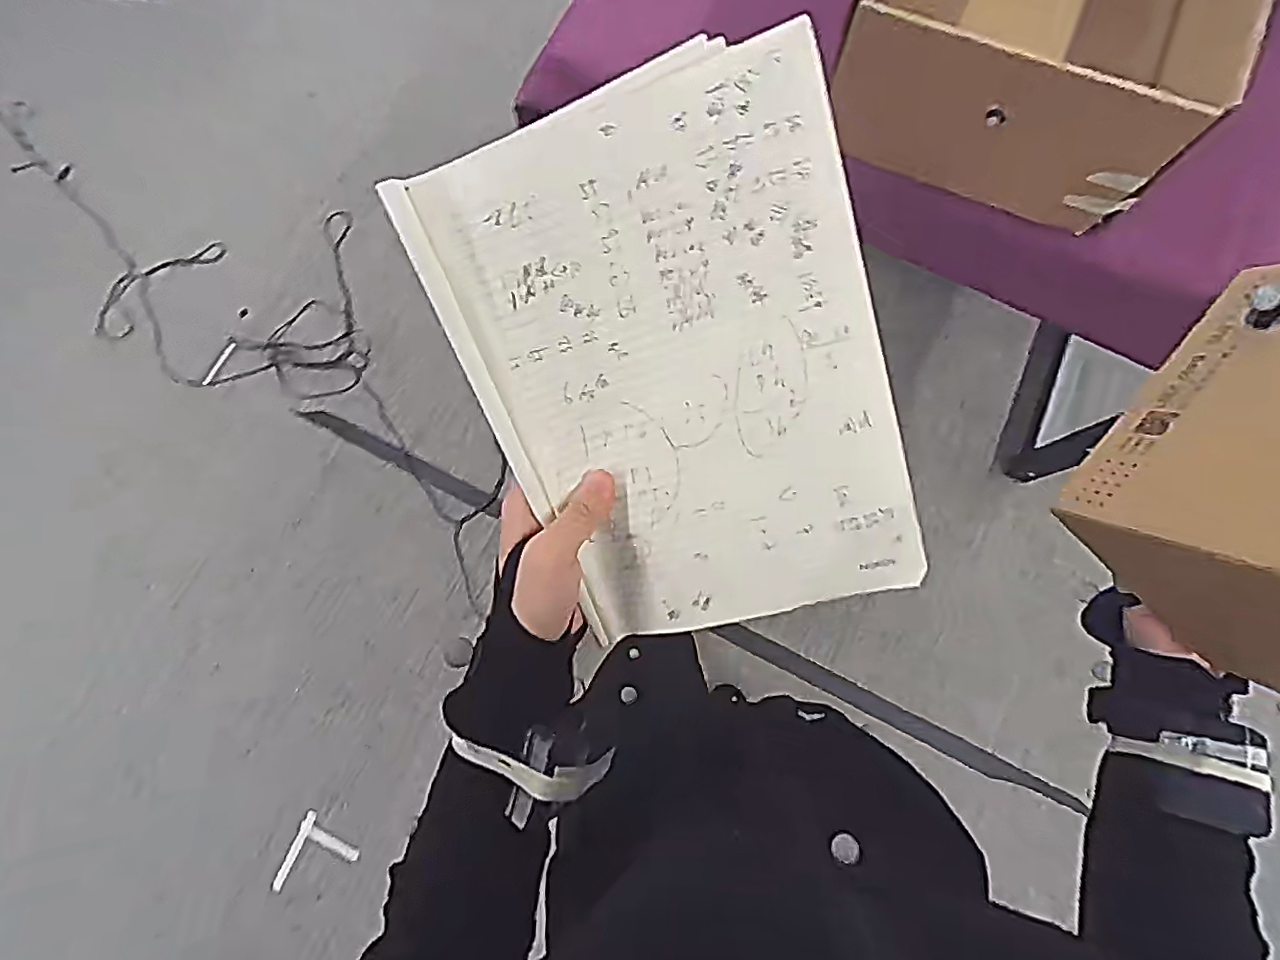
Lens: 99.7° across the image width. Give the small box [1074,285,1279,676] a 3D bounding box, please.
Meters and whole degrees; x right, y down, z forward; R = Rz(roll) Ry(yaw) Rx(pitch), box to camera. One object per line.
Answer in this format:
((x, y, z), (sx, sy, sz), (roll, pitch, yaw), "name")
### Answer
((0.356, 0.012, 0.237), (0.179, 0.176, 0.168), (37, 94, -15), "small box")
